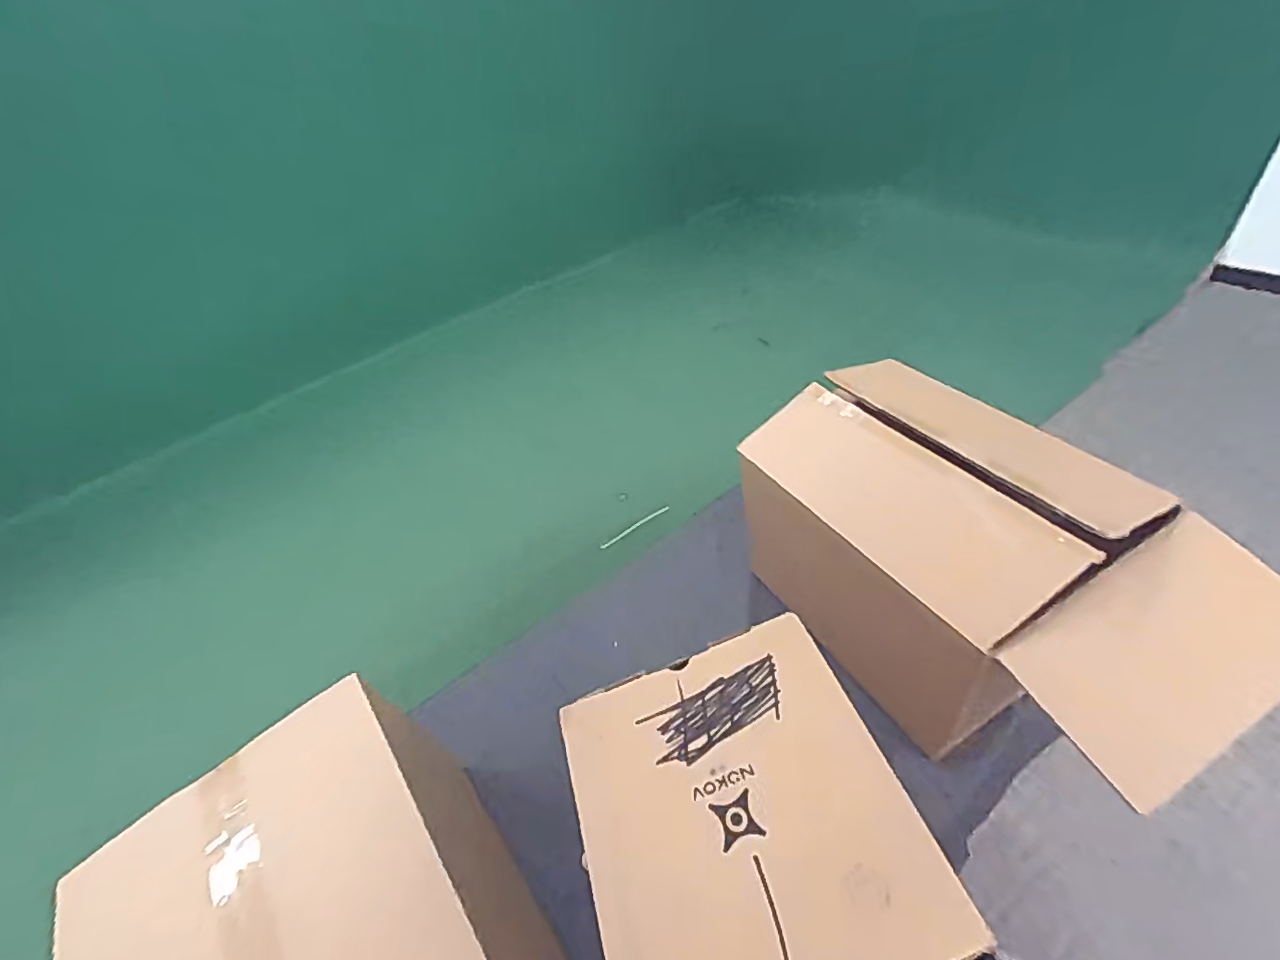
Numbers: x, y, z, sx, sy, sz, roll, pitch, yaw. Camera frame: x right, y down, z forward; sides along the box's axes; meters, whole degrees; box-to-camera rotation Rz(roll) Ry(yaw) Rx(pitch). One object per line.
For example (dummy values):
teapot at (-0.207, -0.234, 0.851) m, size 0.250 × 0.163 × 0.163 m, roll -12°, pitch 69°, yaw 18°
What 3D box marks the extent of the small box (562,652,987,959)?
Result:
small box at (0.070, 0.240, 0.319) m, size 0.168 × 0.176 × 0.179 m, roll -22°, pitch 46°, yaw -1°
